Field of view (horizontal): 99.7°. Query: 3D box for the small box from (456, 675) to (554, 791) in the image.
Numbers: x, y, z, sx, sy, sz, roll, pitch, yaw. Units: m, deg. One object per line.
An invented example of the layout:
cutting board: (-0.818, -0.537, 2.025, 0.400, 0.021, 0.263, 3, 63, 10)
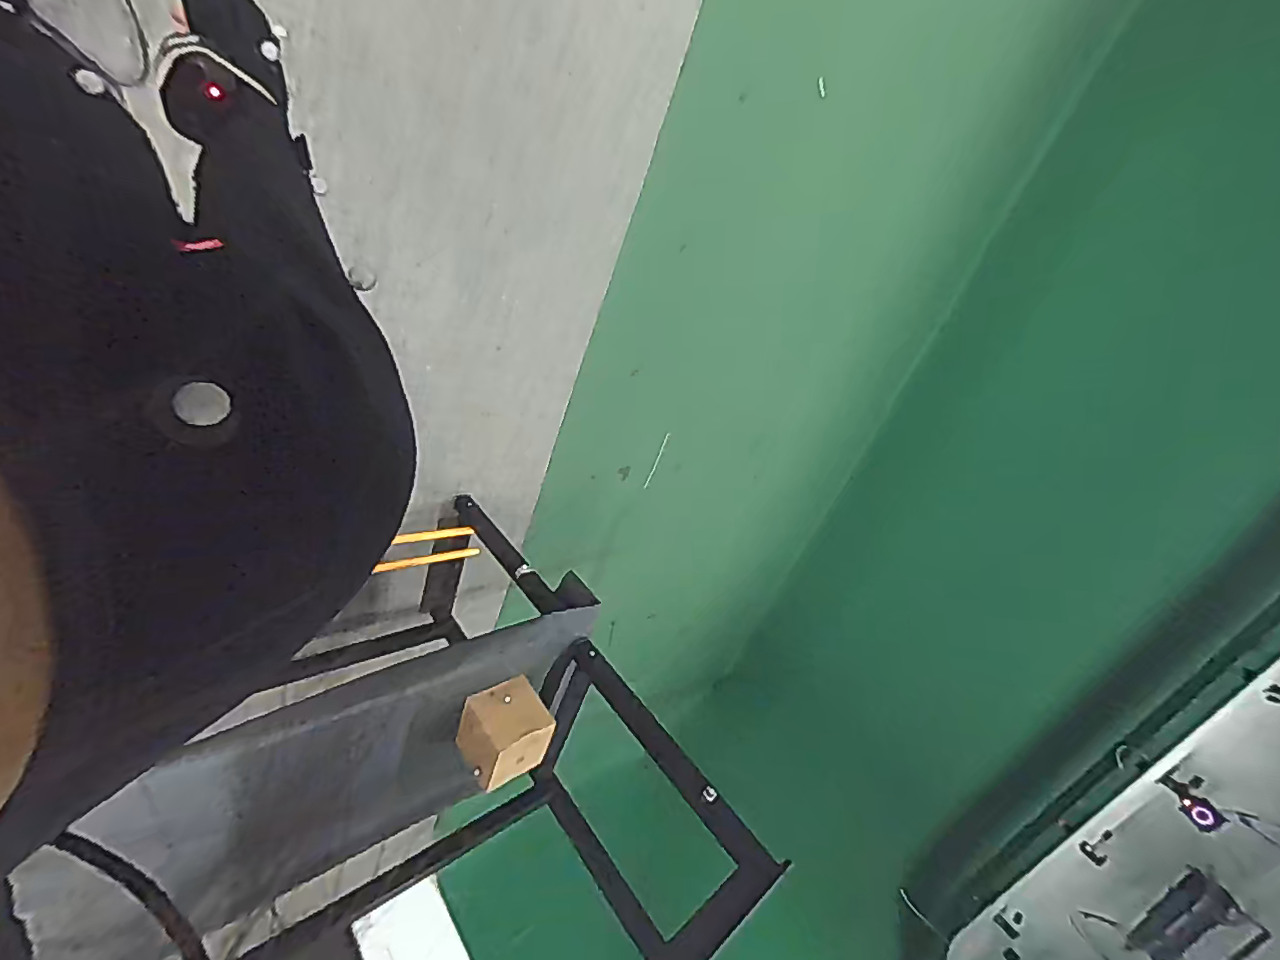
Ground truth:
small box: (-0.351, 0.639, 1.385, 0.168, 0.176, 0.179, -9, 129, -45)
